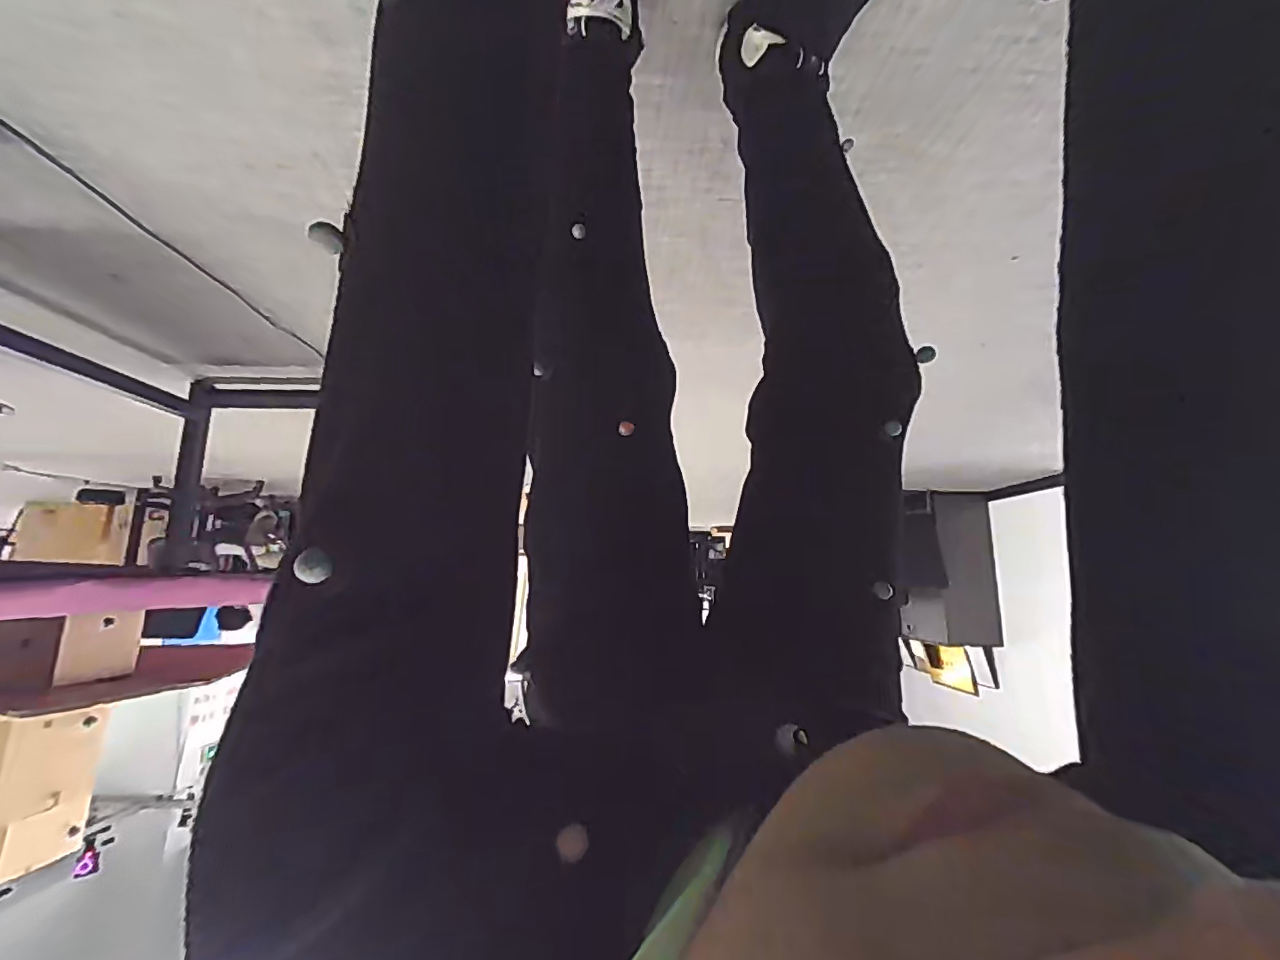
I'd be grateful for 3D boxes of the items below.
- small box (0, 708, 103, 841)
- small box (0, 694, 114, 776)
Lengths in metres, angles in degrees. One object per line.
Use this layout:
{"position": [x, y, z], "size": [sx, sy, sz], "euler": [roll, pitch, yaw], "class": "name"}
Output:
{"position": [-1.071, 0.490, 0.915], "size": [0.179, 0.176, 0.168], "euler": [0, 167, 1], "class": "small box"}
{"position": [-1.251, 0.539, 1.115], "size": [0.179, 0.176, 0.168], "euler": [-1, 167, -1], "class": "small box"}
